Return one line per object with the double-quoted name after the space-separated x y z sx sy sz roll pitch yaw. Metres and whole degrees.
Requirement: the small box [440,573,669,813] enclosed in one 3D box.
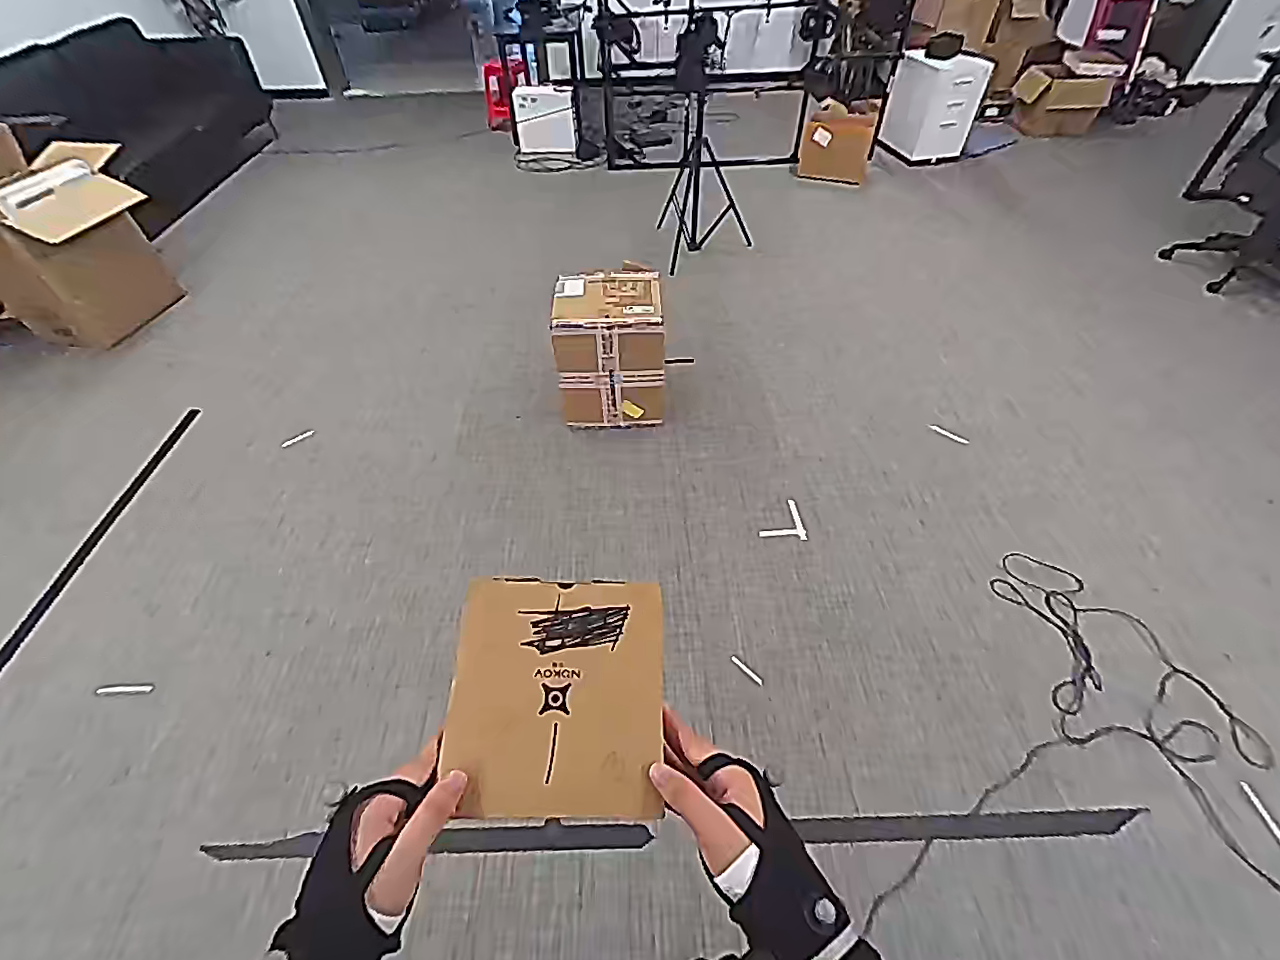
-0.064 0.199 0.494 0.168 0.176 0.179 2 60 -2 "small box"
